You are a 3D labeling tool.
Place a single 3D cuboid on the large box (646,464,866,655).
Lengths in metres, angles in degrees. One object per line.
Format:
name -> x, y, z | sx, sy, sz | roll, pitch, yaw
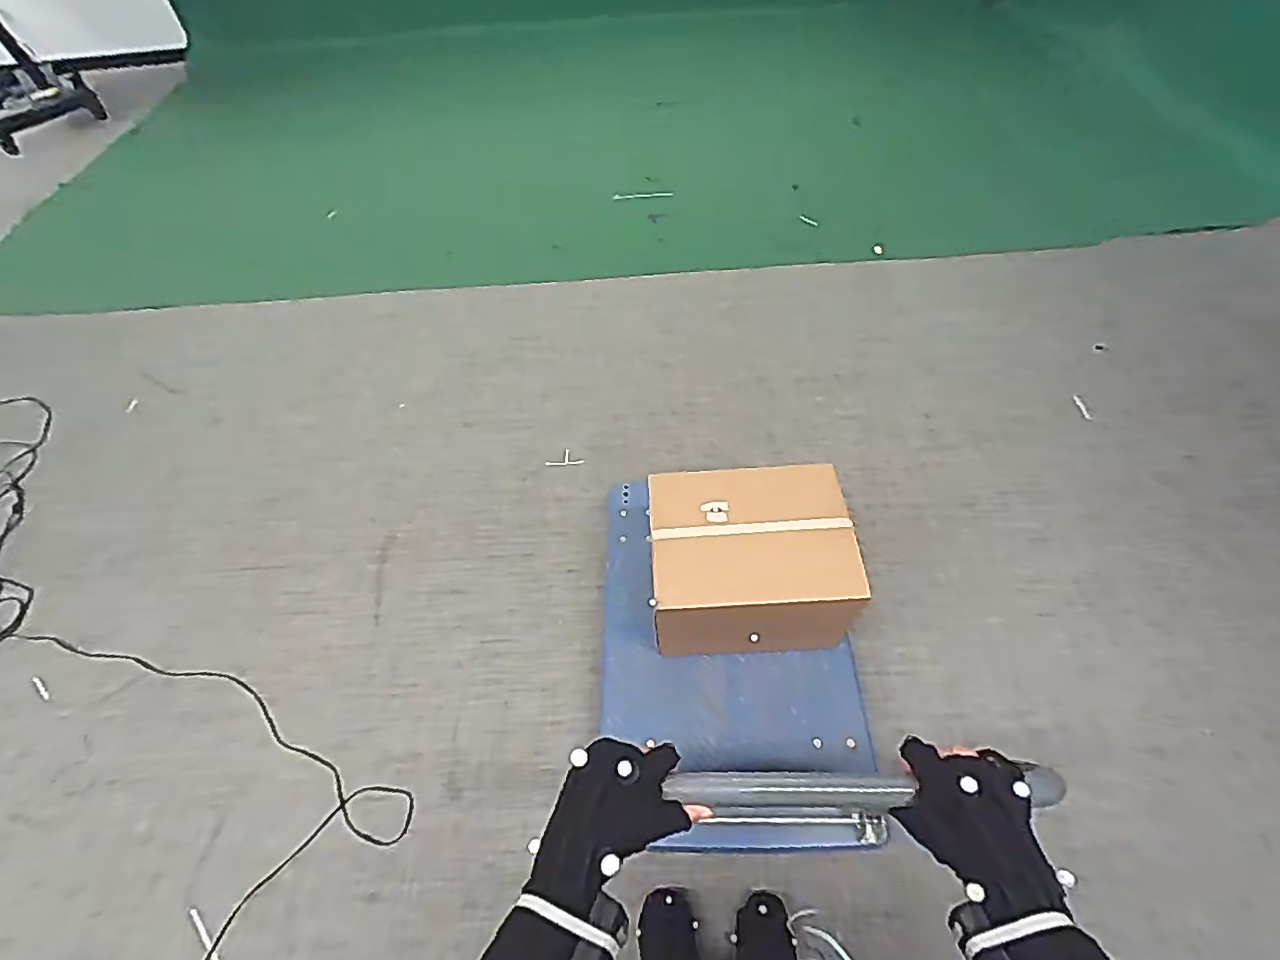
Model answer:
large box -> 0.231, 0.191, 1.218 | 0.408, 0.320, 0.320 | -4, 55, 3
